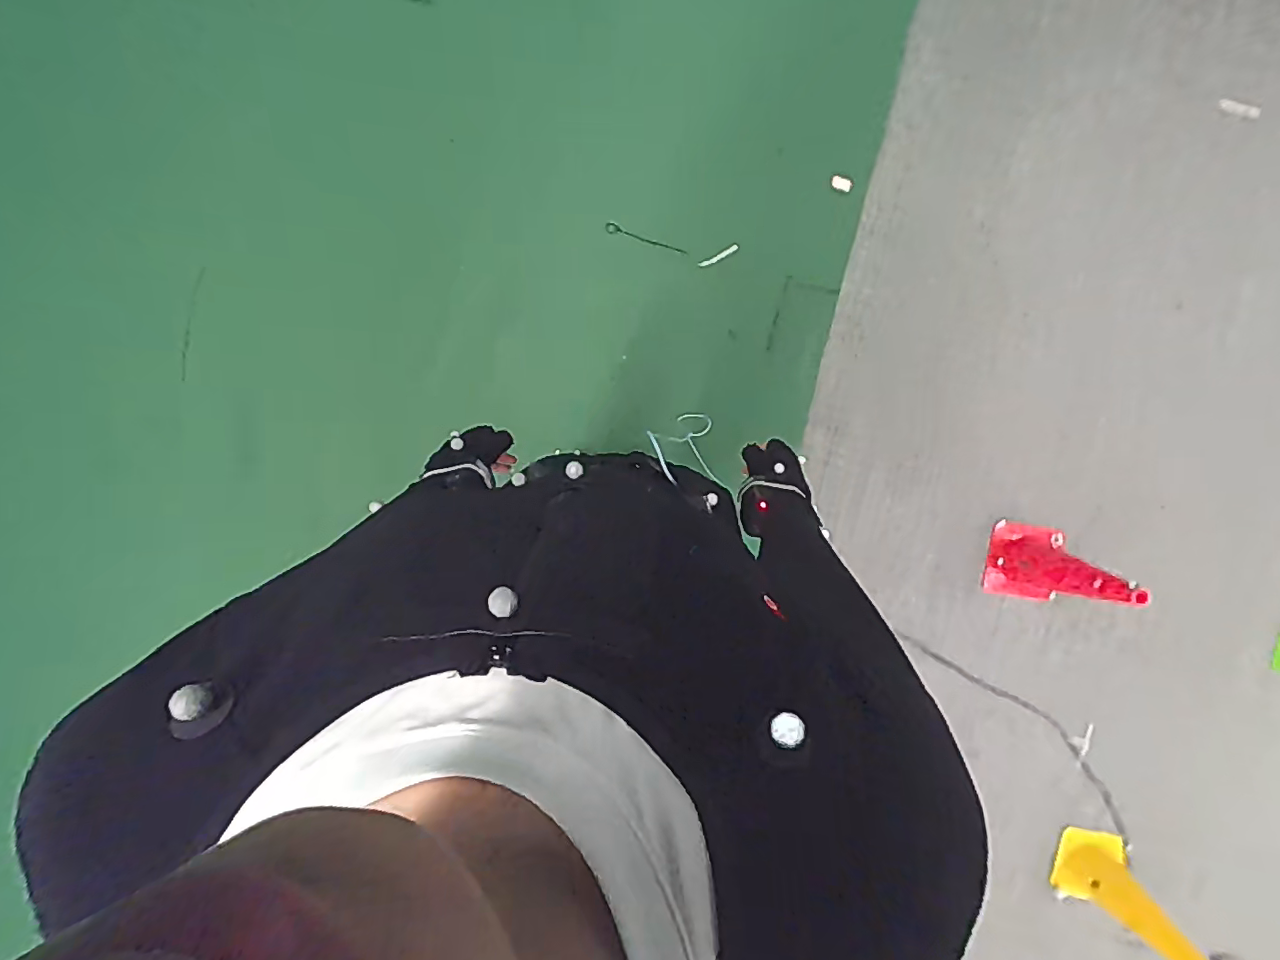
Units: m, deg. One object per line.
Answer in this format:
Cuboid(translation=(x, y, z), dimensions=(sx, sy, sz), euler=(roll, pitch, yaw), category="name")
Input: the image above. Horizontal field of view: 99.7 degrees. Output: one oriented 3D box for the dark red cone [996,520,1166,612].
Cuboid(translation=(1.061, 0.229, 1.288), dimensions=(0.201, 0.394, 0.202), euler=(8, 95, 2), category="dark red cone")
